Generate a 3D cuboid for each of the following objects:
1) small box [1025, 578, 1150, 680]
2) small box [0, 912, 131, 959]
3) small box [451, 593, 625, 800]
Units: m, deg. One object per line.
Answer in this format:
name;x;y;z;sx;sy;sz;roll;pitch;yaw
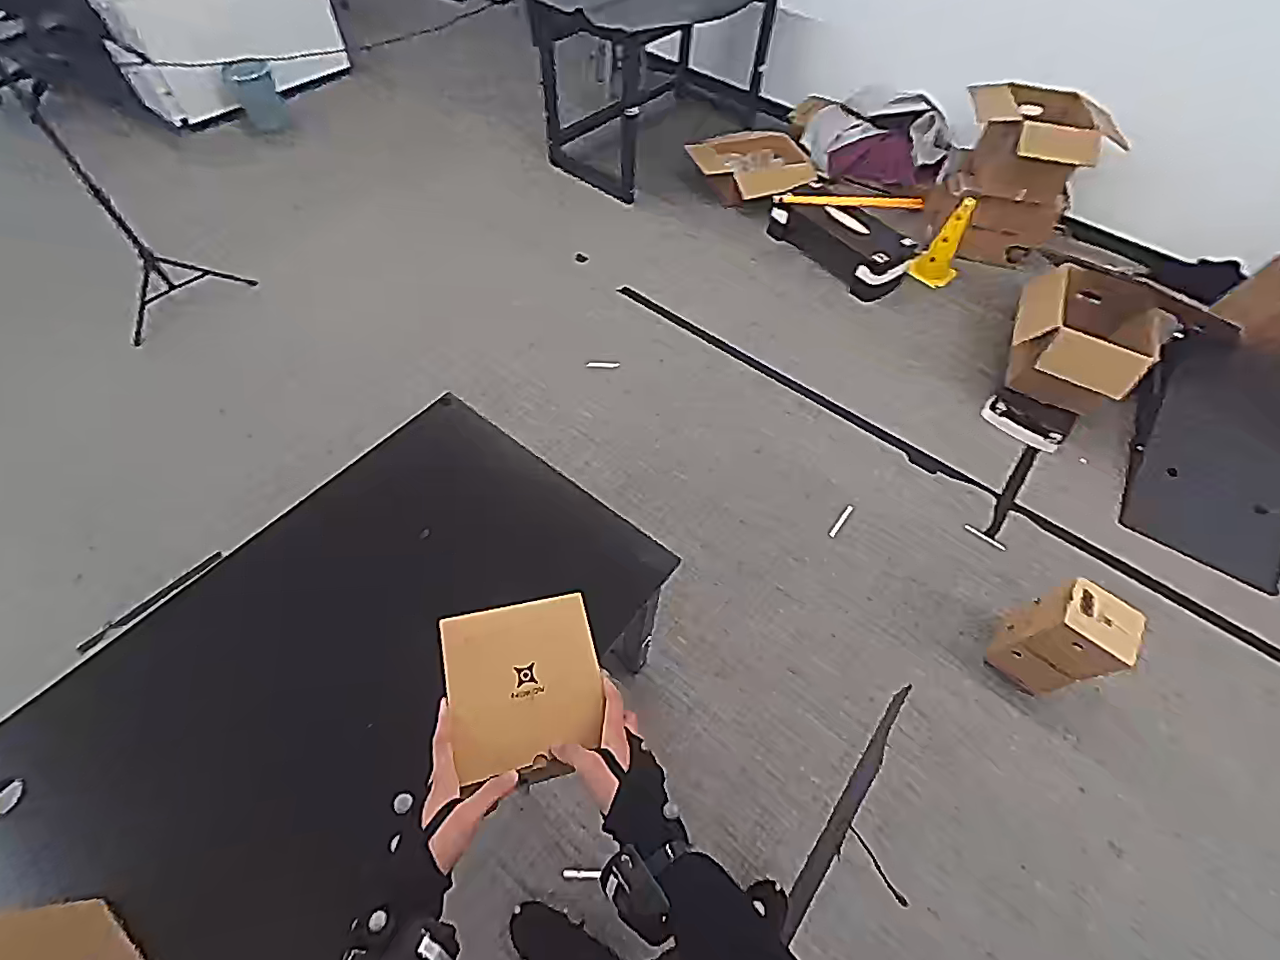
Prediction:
small box;1.163;0.397;1.416;0.179;0.176;0.168;36;62;17
small box;-0.637;0.568;0.529;0.179;0.176;0.168;33;61;16
small box;-0.132;0.259;0.646;0.168;0.176;0.179;-6;59;-20
